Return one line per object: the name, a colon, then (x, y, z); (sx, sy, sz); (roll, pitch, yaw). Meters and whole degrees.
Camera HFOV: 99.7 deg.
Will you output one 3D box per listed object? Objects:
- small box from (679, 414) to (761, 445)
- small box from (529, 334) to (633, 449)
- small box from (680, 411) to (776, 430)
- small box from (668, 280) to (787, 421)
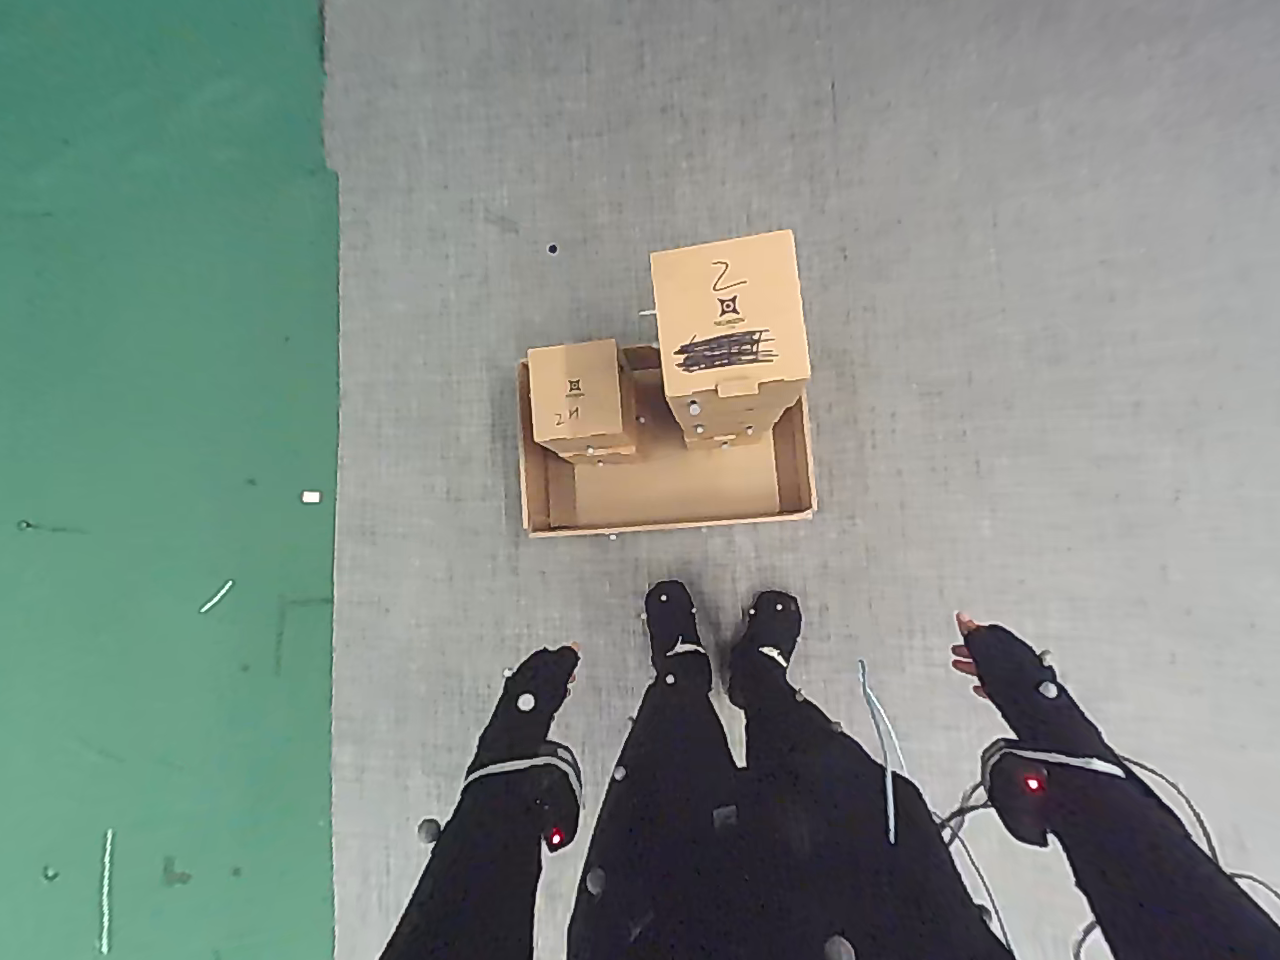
small box: (0.171, -0.176, 1.180); (0.168, 0.176, 0.179); (-9, 85, 9)
small box: (-0.108, -0.164, 1.048); (0.168, 0.176, 0.179); (-5, 86, 6)
small box: (0.158, -0.189, 0.999); (0.168, 0.176, 0.179); (-4, 86, 8)
small box: (0.136, -0.191, 0.854); (0.168, 0.176, 0.179); (-3, 86, 7)
